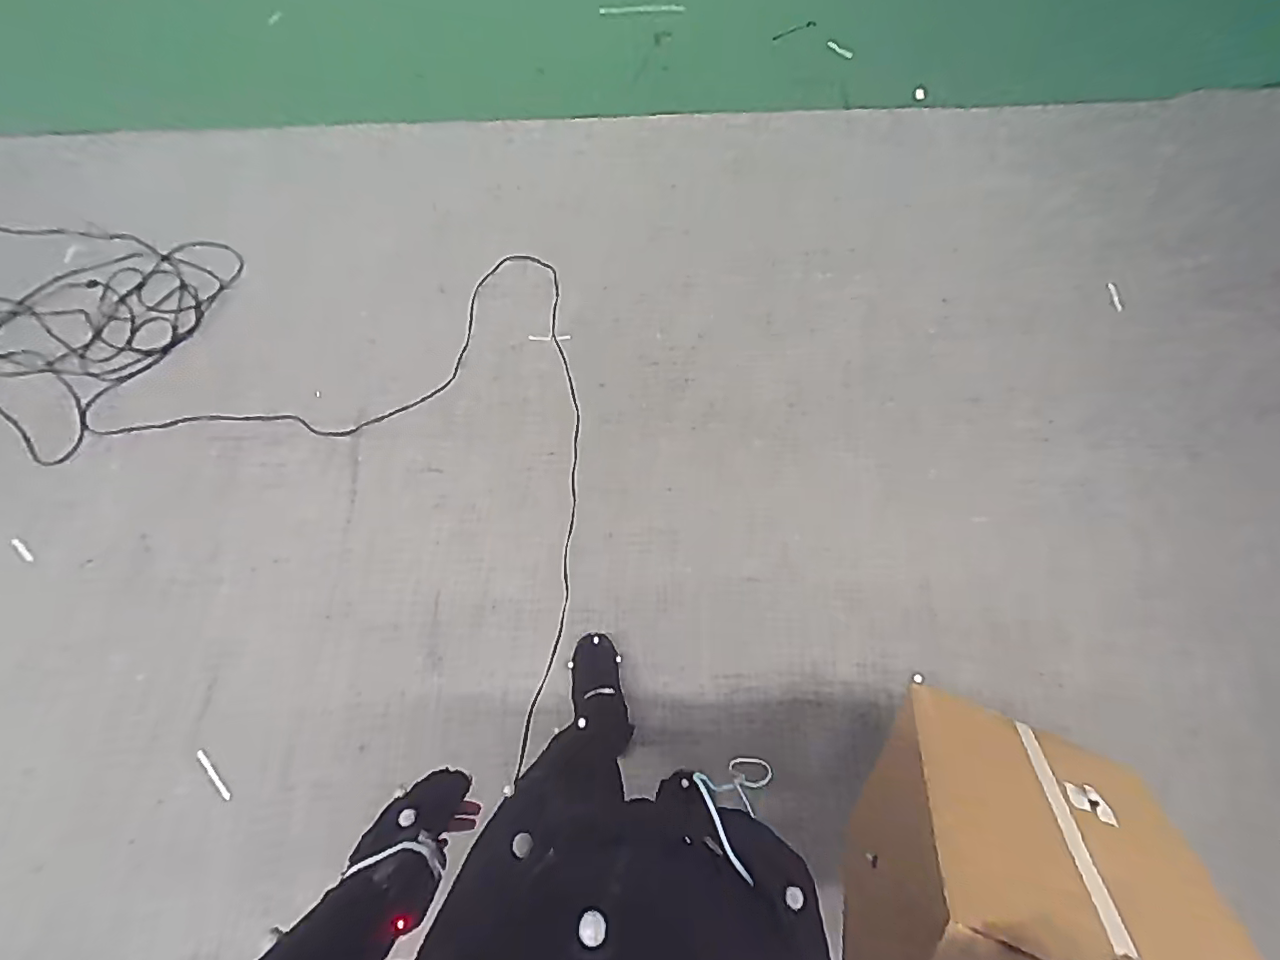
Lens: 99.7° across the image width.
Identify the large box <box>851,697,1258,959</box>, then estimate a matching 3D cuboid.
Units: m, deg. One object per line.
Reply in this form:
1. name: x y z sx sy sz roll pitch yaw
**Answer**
1. large box: 0.467 0.565 0.674 0.320 0.408 0.320 19 107 17
